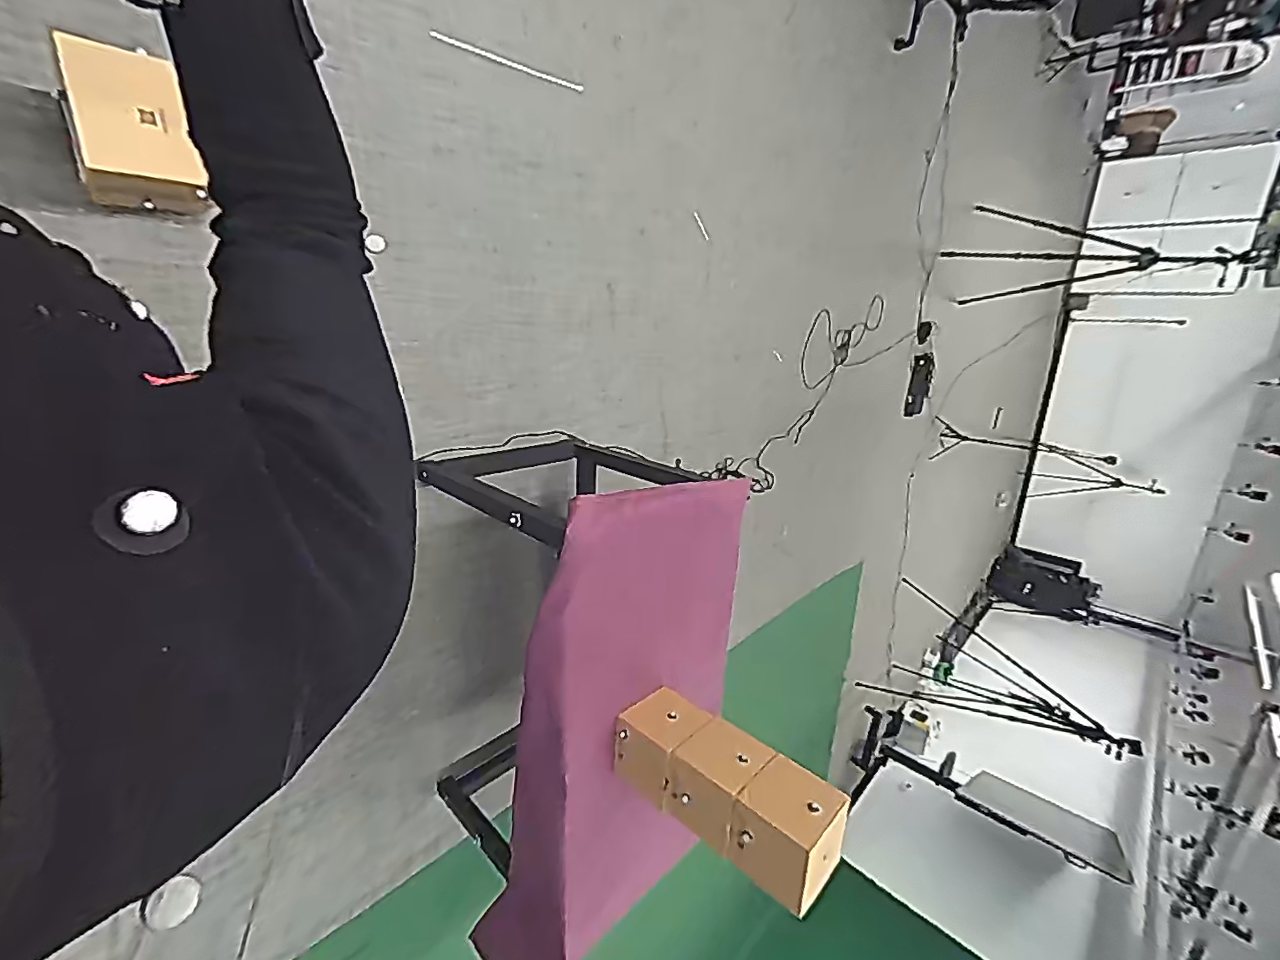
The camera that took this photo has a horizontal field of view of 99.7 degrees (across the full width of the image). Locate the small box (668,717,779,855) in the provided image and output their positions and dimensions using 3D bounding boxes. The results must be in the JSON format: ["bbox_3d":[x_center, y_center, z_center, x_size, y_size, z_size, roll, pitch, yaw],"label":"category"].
[{"bbox_3d":[0.184,0.670,1.209,0.179,0.176,0.168,-12,111,-44],"label":"small box"}]

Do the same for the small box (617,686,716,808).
[{"bbox_3d":[0.061,0.637,1.313,0.179,0.176,0.168,-12,112,-45],"label":"small box"}]

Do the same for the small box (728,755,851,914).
[{"bbox_3d":[0.304,0.705,1.103,0.179,0.176,0.168,-12,111,-44],"label":"small box"}]

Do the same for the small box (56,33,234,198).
[{"bbox_3d":[-0.782,-0.559,0.861,0.179,0.176,0.168,-16,115,-44],"label":"small box"}]
